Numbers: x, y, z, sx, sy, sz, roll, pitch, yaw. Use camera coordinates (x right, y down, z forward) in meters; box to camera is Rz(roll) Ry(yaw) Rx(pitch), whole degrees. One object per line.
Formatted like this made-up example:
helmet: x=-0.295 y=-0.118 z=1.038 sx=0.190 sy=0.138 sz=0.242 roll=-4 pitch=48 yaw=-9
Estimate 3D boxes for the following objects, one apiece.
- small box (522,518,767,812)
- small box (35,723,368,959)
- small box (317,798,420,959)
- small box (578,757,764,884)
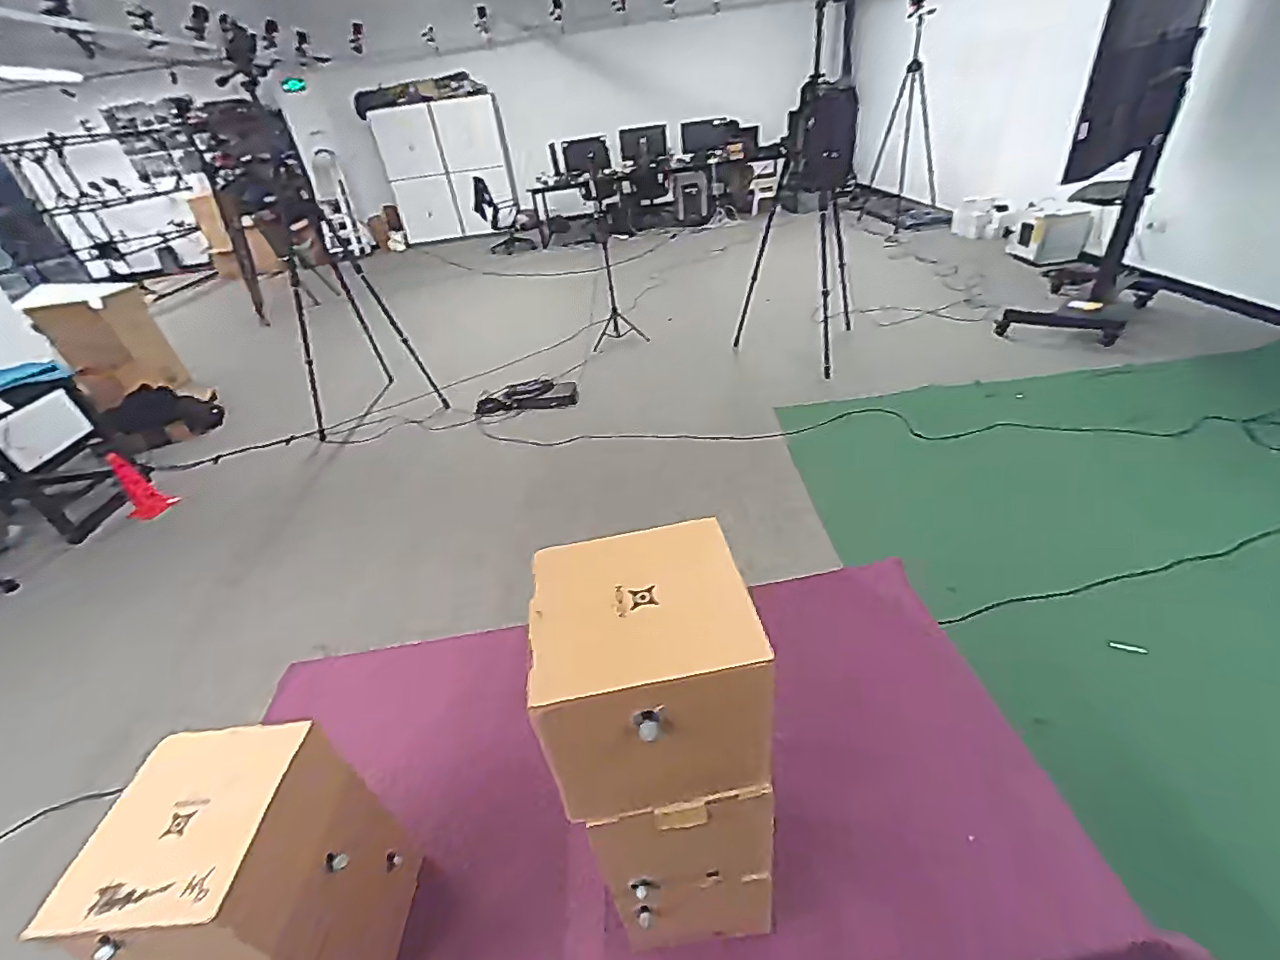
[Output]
small box: x=0.004 y=0.162 z=0.485 sx=0.179 sy=0.176 sz=0.168 roll=-12 pitch=34 yaw=-2
small box: x=-0.411 y=0.382 z=0.554 sx=0.168 sy=0.176 sz=0.179 roll=-8 pitch=34 yaw=4
small box: x=-0.388 y=0.516 z=0.649 sx=0.168 sy=0.176 sz=0.179 roll=-8 pitch=36 yaw=3
small box: x=0.030 y=0.295 z=0.575 sx=0.168 sy=0.176 sz=0.179 roll=-10 pitch=33 yaw=-1
